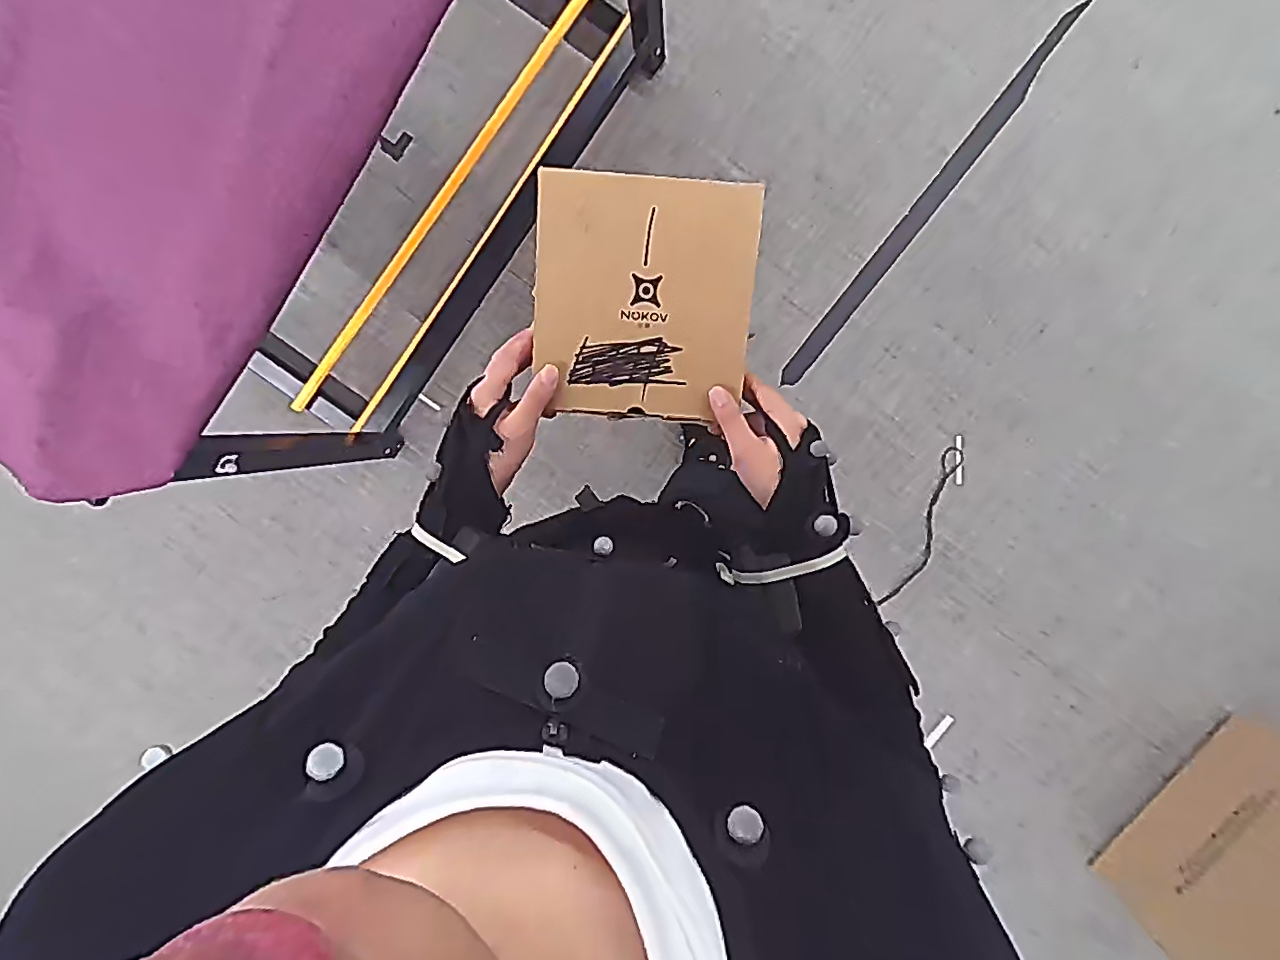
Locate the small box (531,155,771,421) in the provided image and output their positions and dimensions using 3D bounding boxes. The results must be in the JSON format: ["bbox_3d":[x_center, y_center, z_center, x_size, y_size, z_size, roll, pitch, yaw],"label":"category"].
[{"bbox_3d":[0.005,-0.153,0.472,0.168,0.176,0.179,4,102,-1],"label":"small box"}]
